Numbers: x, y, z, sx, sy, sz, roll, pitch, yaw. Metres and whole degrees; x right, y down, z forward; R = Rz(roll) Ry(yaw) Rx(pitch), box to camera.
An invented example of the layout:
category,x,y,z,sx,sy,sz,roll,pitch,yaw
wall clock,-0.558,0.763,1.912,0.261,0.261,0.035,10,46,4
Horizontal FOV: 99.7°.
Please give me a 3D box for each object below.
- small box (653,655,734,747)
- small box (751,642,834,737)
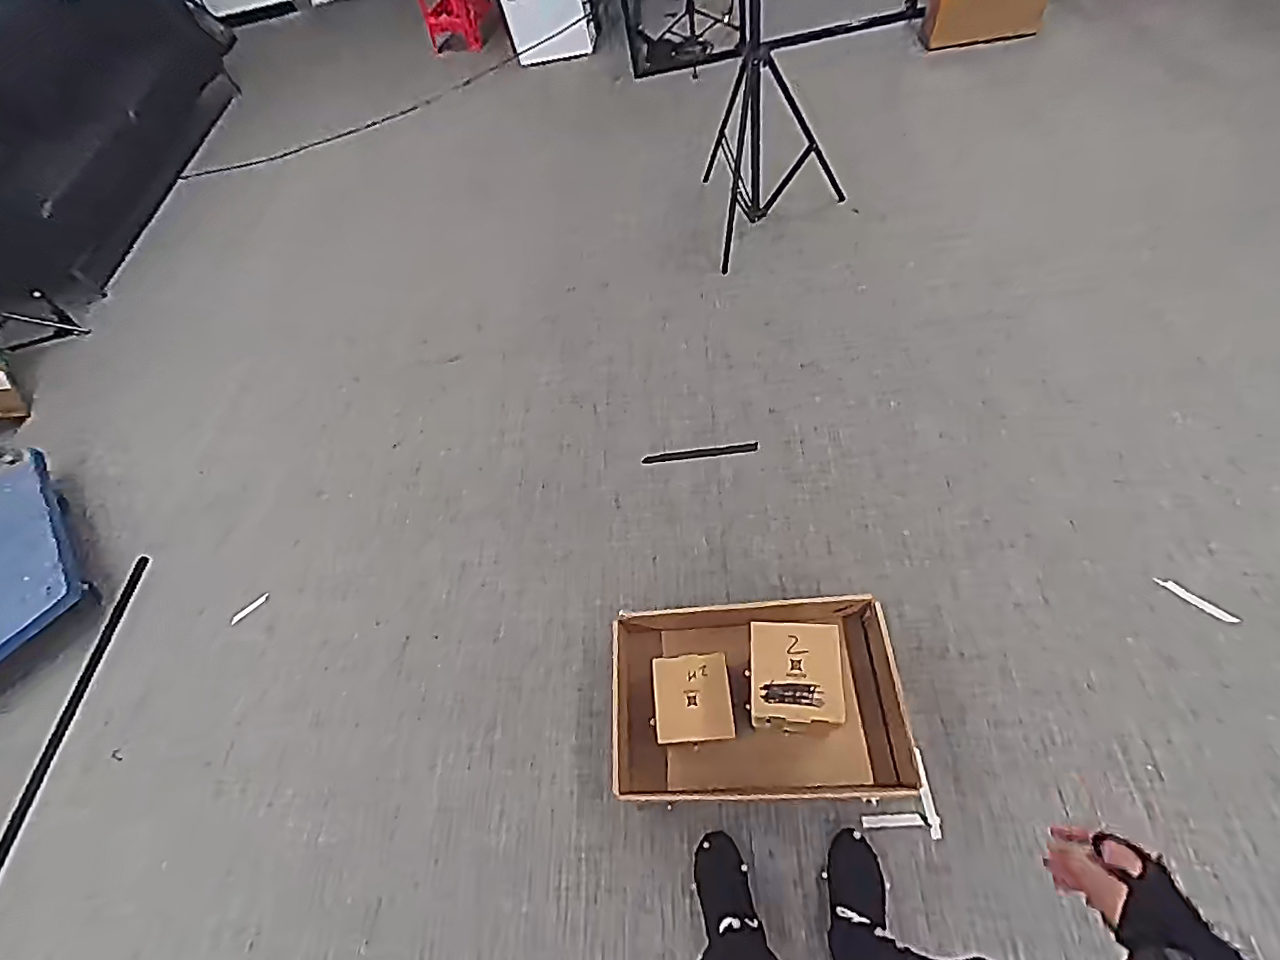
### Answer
category,x,y,z,sx,sy,sz,roll,pitch,yaw
small box,0.124,0.510,1.235,0.168,0.176,0.179,-7,60,6
small box,0.336,0.473,1.217,0.168,0.176,0.179,-3,61,13
